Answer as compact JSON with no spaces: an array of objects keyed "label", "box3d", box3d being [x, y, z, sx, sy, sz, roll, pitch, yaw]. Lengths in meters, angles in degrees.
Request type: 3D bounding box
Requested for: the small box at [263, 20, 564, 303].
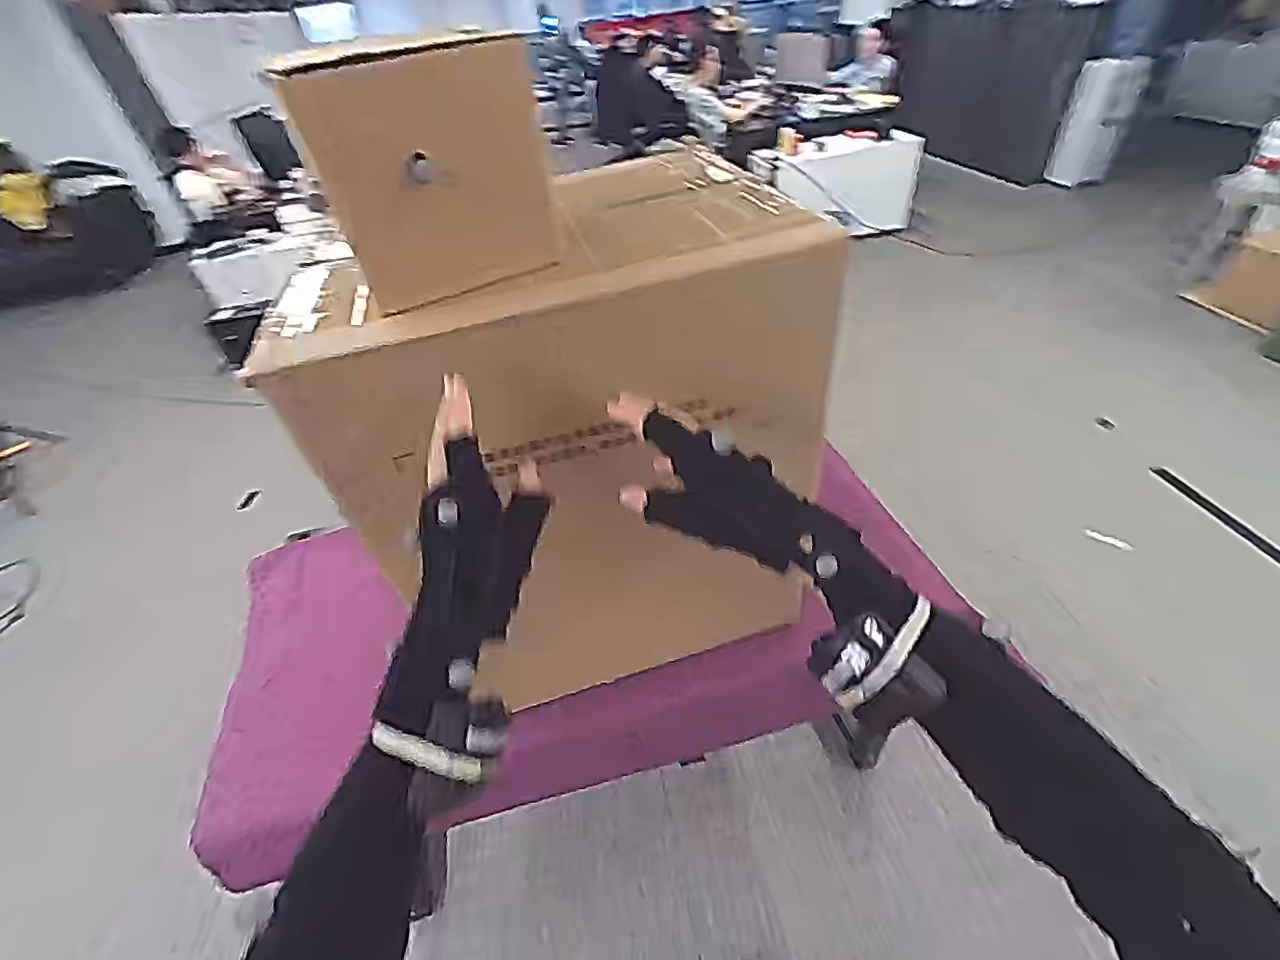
[{"label":"small box","box3d":[-0.187,-0.277,0.472,0.179,0.176,0.168,-26,47,-17]}]
